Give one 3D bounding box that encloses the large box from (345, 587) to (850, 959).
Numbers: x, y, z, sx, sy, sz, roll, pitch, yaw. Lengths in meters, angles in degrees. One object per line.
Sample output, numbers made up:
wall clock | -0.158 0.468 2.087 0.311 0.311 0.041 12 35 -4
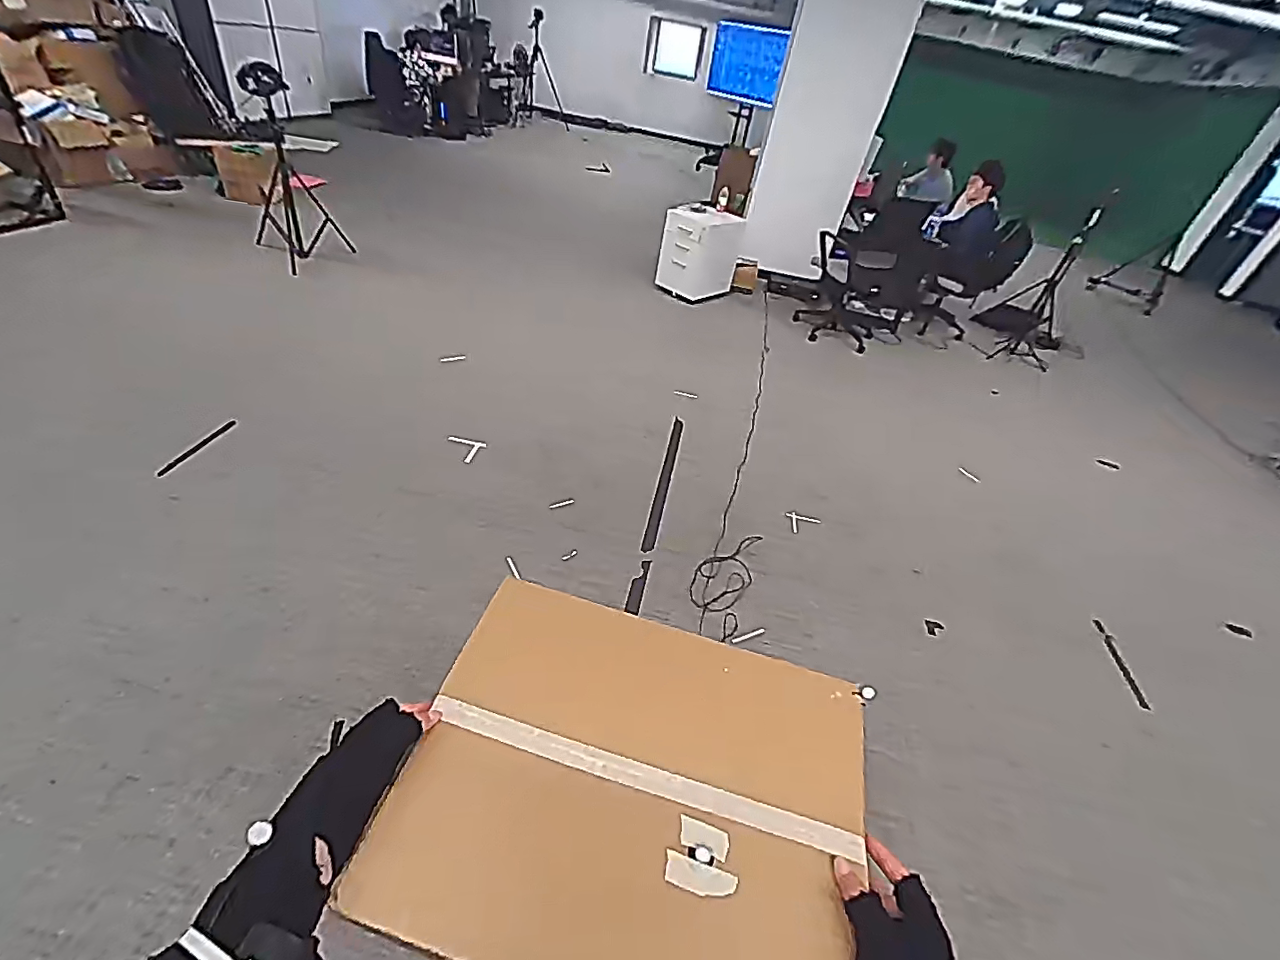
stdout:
large box | -0.022 0.378 0.606 0.408 0.320 0.320 16 46 6
